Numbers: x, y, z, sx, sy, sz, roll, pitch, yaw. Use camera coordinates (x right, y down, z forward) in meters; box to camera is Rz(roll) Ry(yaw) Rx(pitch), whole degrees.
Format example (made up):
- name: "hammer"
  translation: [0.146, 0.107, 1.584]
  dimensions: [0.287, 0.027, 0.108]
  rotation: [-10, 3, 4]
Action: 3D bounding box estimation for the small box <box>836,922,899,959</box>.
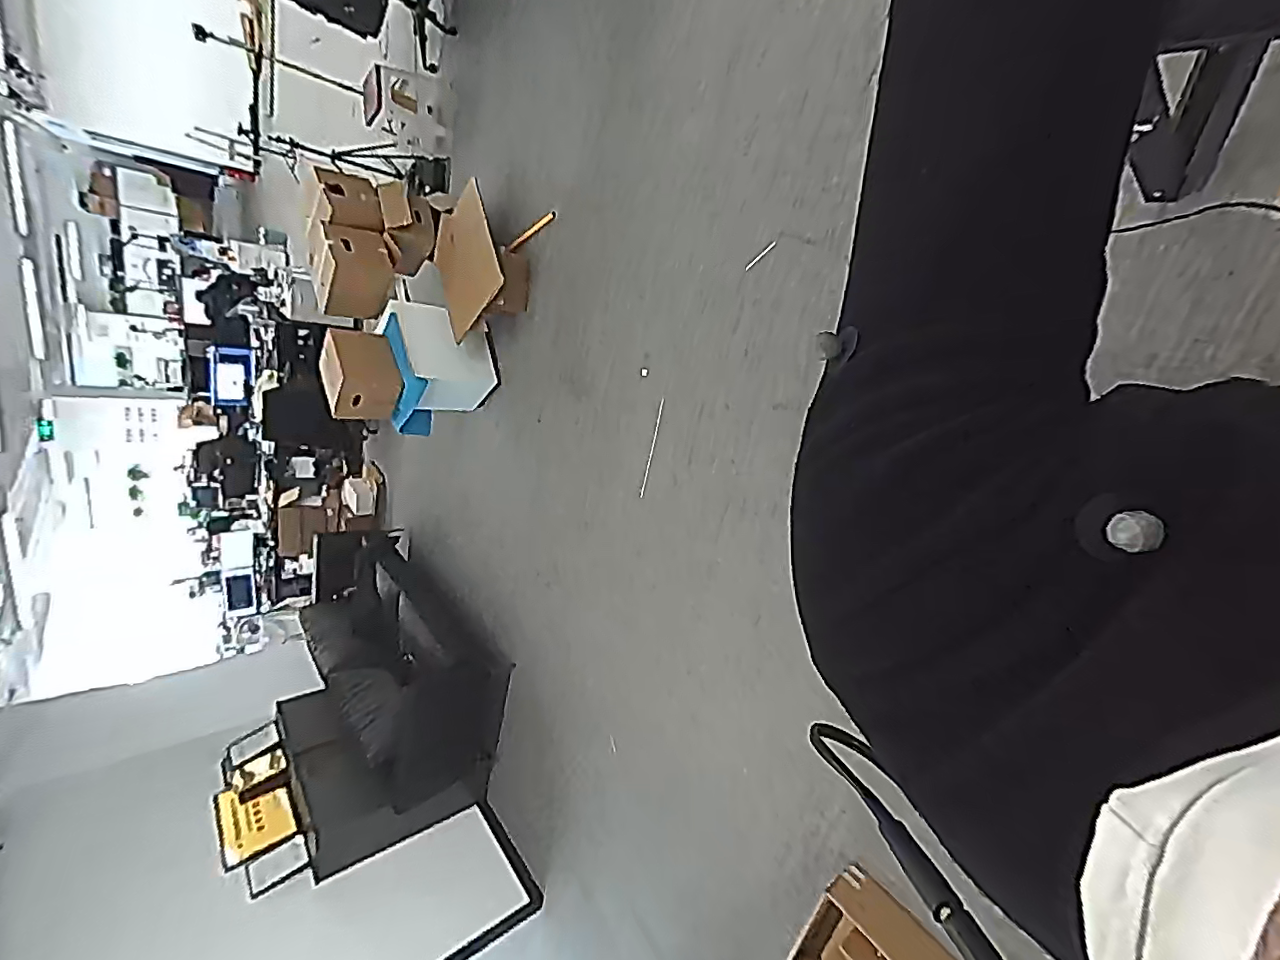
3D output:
- name: "small box"
  translation: [0.691, 1.530, 1.668]
  dimensions: [0.168, 0.176, 0.179]
  rotation: [34, 117, 40]
